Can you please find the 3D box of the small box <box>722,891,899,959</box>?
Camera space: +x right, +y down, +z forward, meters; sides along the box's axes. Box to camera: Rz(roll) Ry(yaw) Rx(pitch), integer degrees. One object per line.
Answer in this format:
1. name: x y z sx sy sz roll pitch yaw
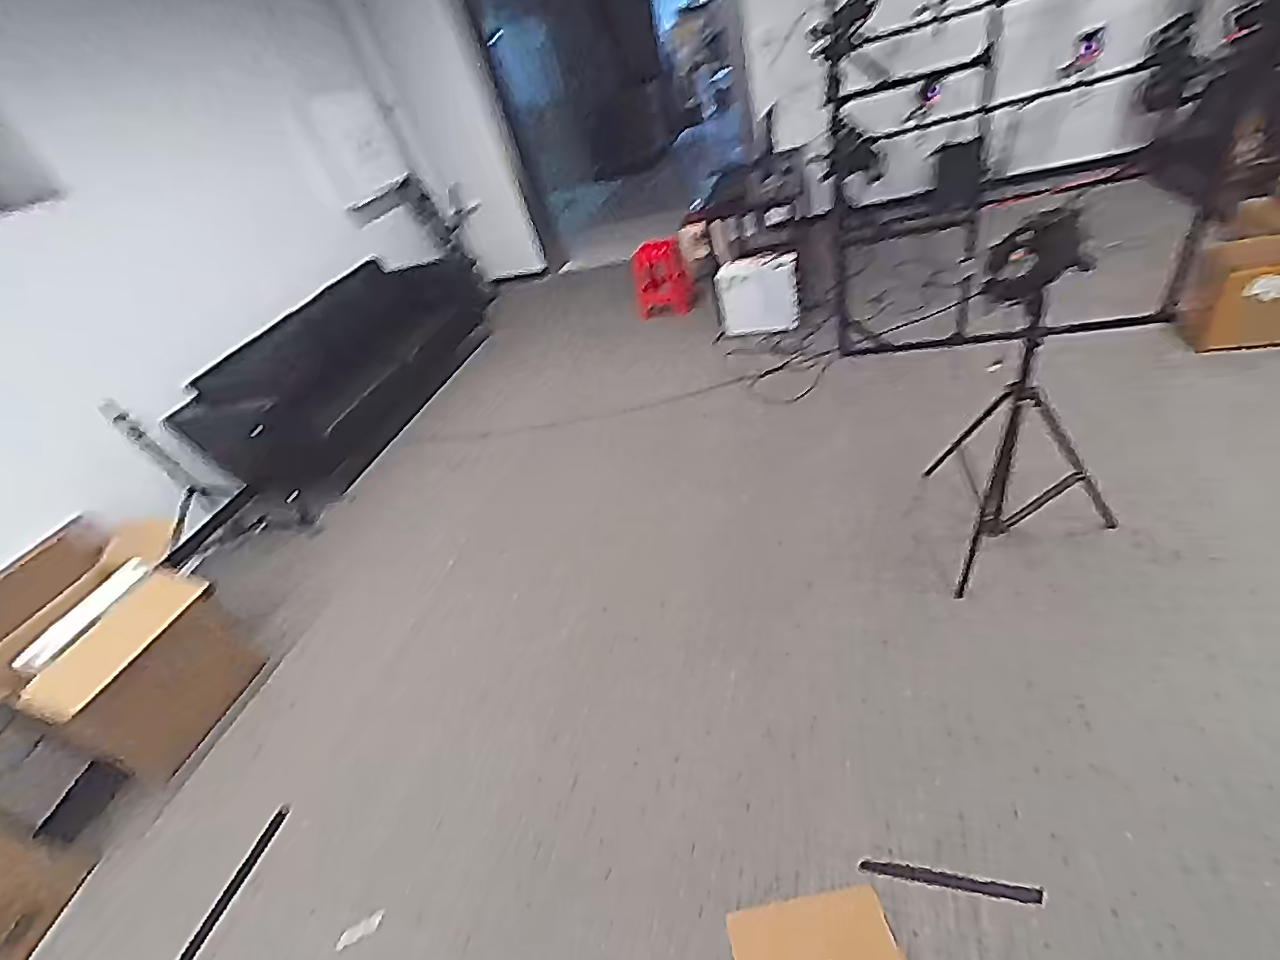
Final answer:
1. small box: 0.198 0.589 0.574 0.179 0.176 0.168 -11 23 0
